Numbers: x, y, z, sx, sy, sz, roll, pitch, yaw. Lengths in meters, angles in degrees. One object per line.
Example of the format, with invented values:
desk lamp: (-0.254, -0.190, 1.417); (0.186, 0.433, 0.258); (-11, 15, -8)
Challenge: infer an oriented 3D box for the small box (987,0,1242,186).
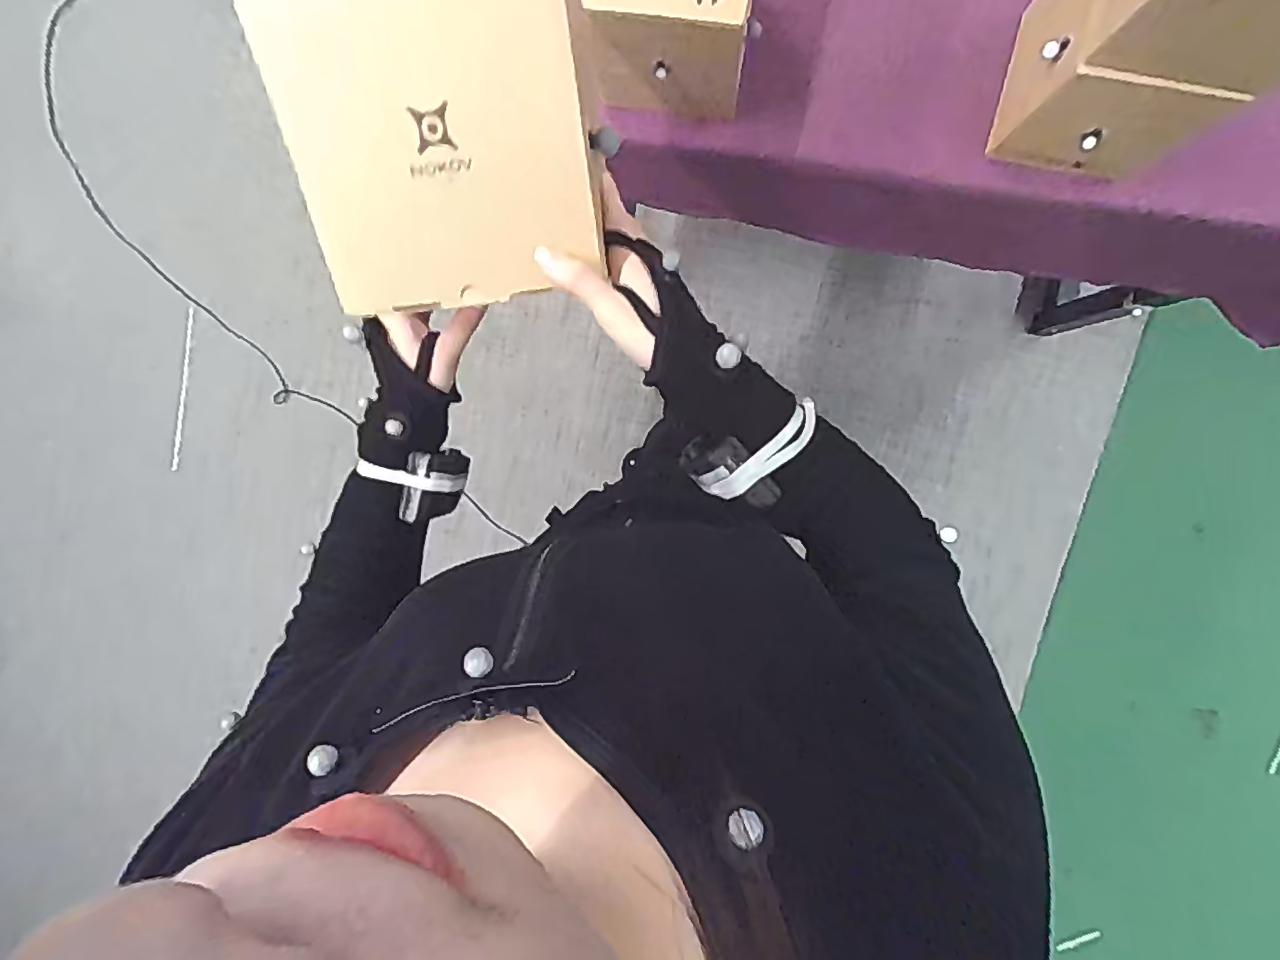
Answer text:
small box: (0.525, -0.458, 0.597); (0.168, 0.176, 0.179); (13, 96, 3)

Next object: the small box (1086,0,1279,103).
small box: (0.519, -0.444, 0.433); (0.179, 0.176, 0.168); (14, 97, 3)
